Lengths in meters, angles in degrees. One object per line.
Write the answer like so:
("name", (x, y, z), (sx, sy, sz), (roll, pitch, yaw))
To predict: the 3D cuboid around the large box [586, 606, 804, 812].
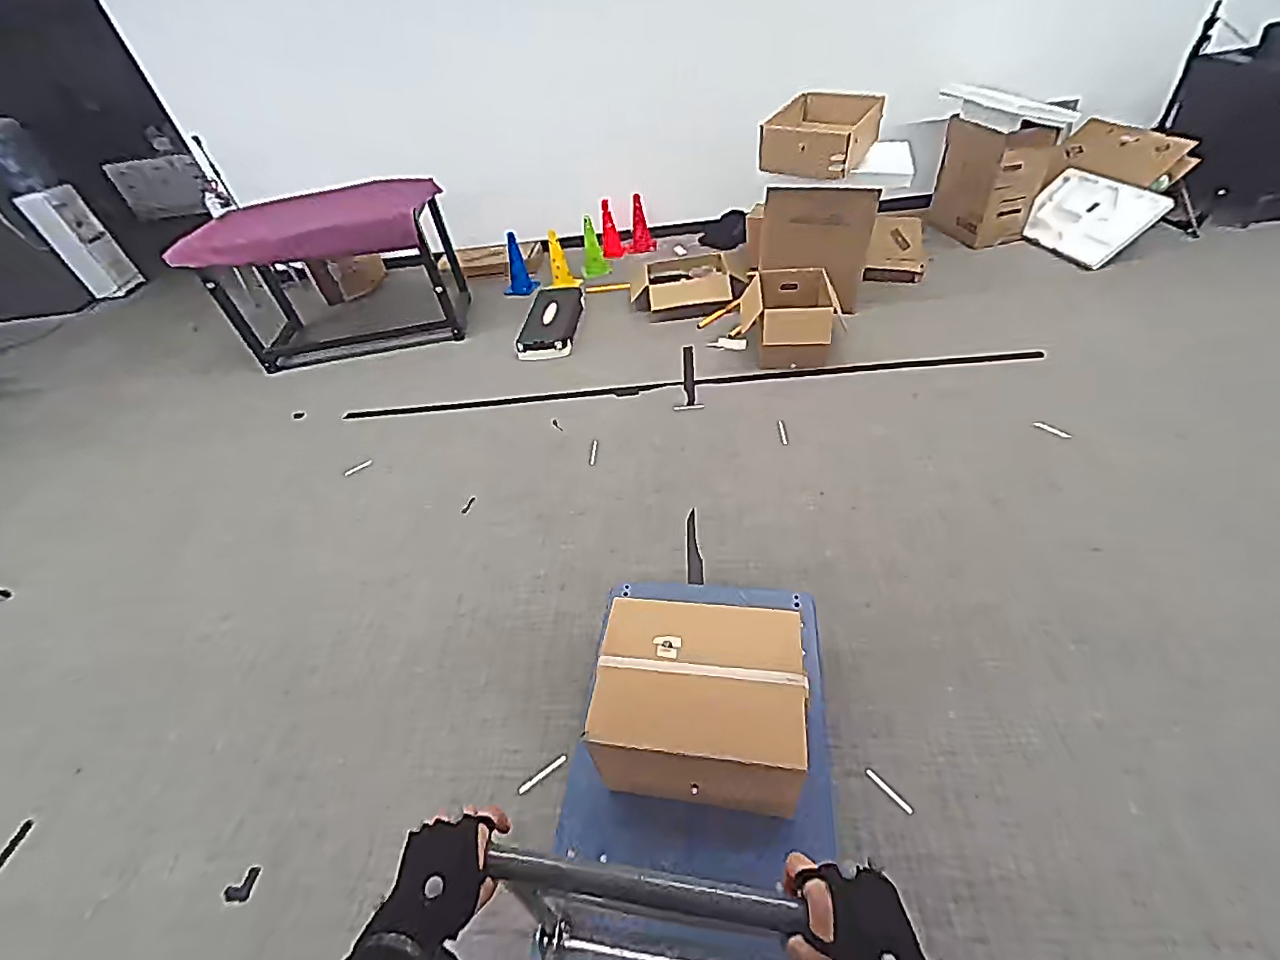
("large box", (0.135, 0.499, 1.188), (0.408, 0.320, 0.320), (1, 44, 12))
